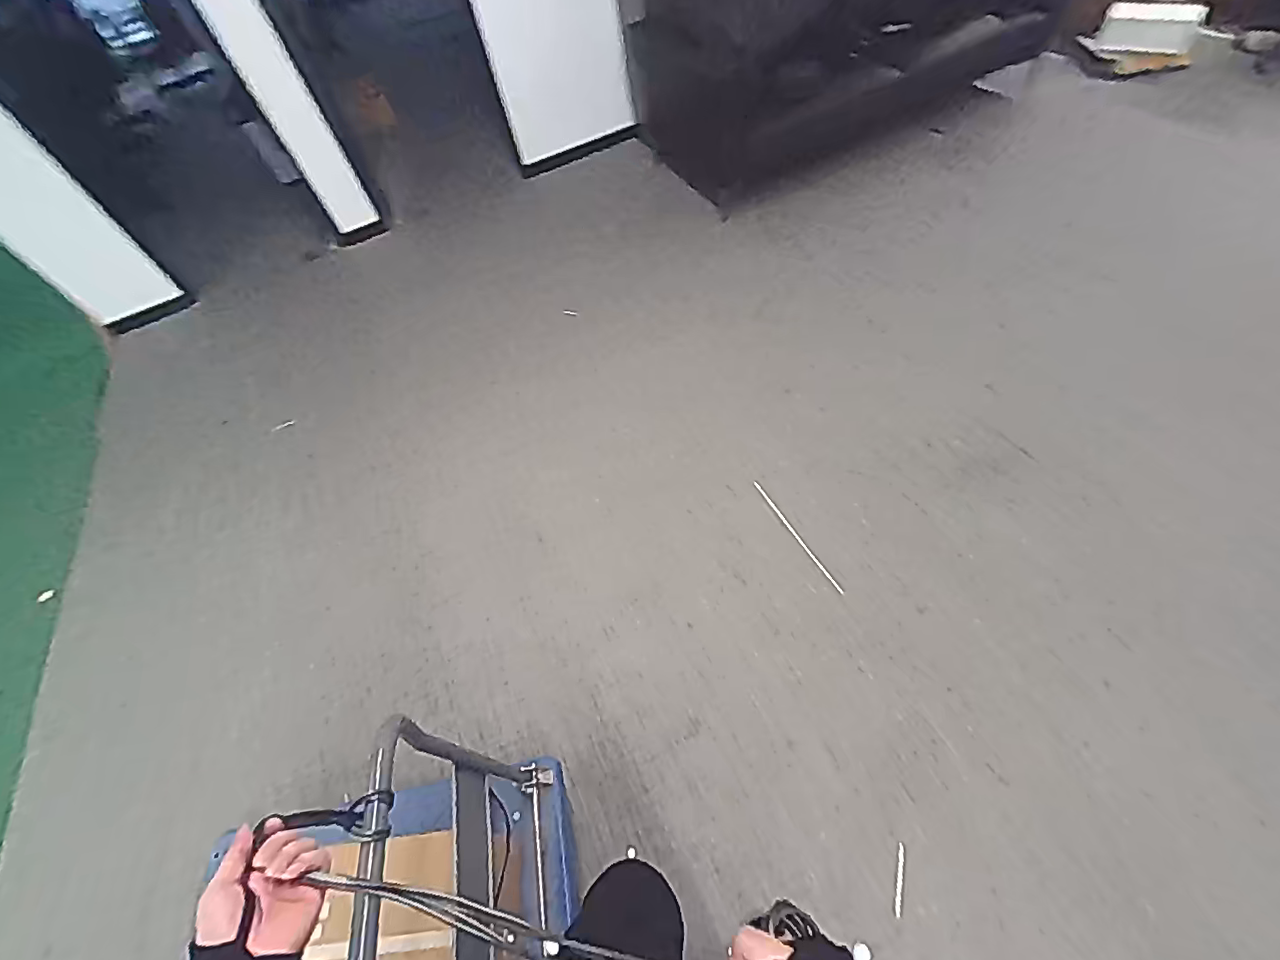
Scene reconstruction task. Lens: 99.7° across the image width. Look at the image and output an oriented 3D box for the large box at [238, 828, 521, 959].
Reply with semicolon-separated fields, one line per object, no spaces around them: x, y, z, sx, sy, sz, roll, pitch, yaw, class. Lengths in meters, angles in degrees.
-0.464;0.872;1.023;0.408;0.320;0.320;-10;54;4;large box
